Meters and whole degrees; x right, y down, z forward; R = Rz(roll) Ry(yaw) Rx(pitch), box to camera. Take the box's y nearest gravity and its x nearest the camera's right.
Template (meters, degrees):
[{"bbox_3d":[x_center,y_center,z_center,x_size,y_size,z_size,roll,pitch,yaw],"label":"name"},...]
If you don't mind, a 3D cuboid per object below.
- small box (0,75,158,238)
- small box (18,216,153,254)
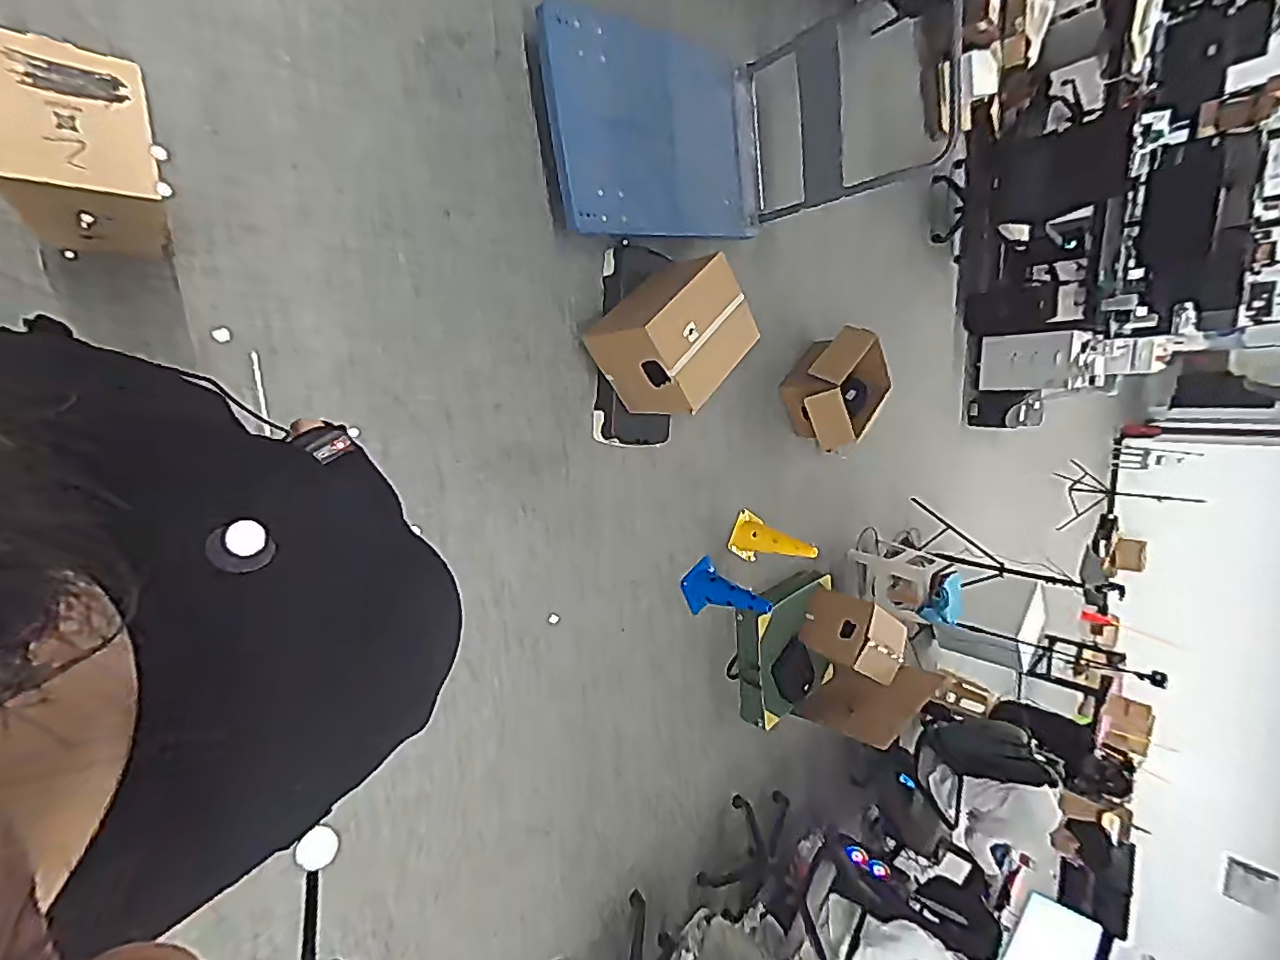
[{"bbox_3d":[-0.898,-0.500,0.864,0.179,0.176,0.168,-10,103,-41],"label":"small box"},{"bbox_3d":[-1.009,-0.524,0.983,0.168,0.176,0.179,-10,102,-41],"label":"small box"}]
